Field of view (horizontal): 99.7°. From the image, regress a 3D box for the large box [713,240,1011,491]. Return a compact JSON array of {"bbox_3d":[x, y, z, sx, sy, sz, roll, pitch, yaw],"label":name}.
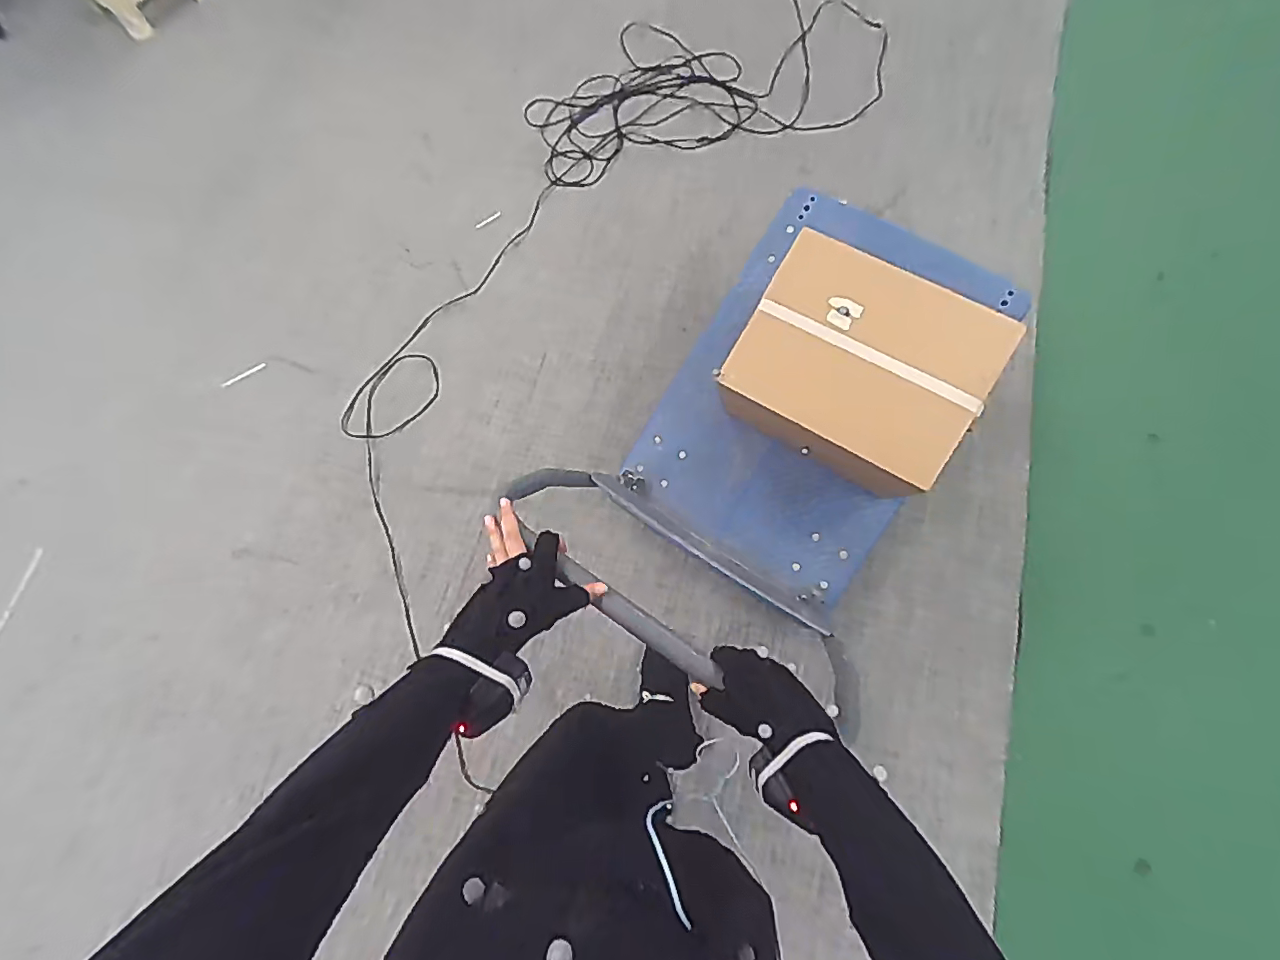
[{"bbox_3d":[0.409,-0.202,1.085,0.408,0.320,0.320,30,93,13],"label":"large box"}]
